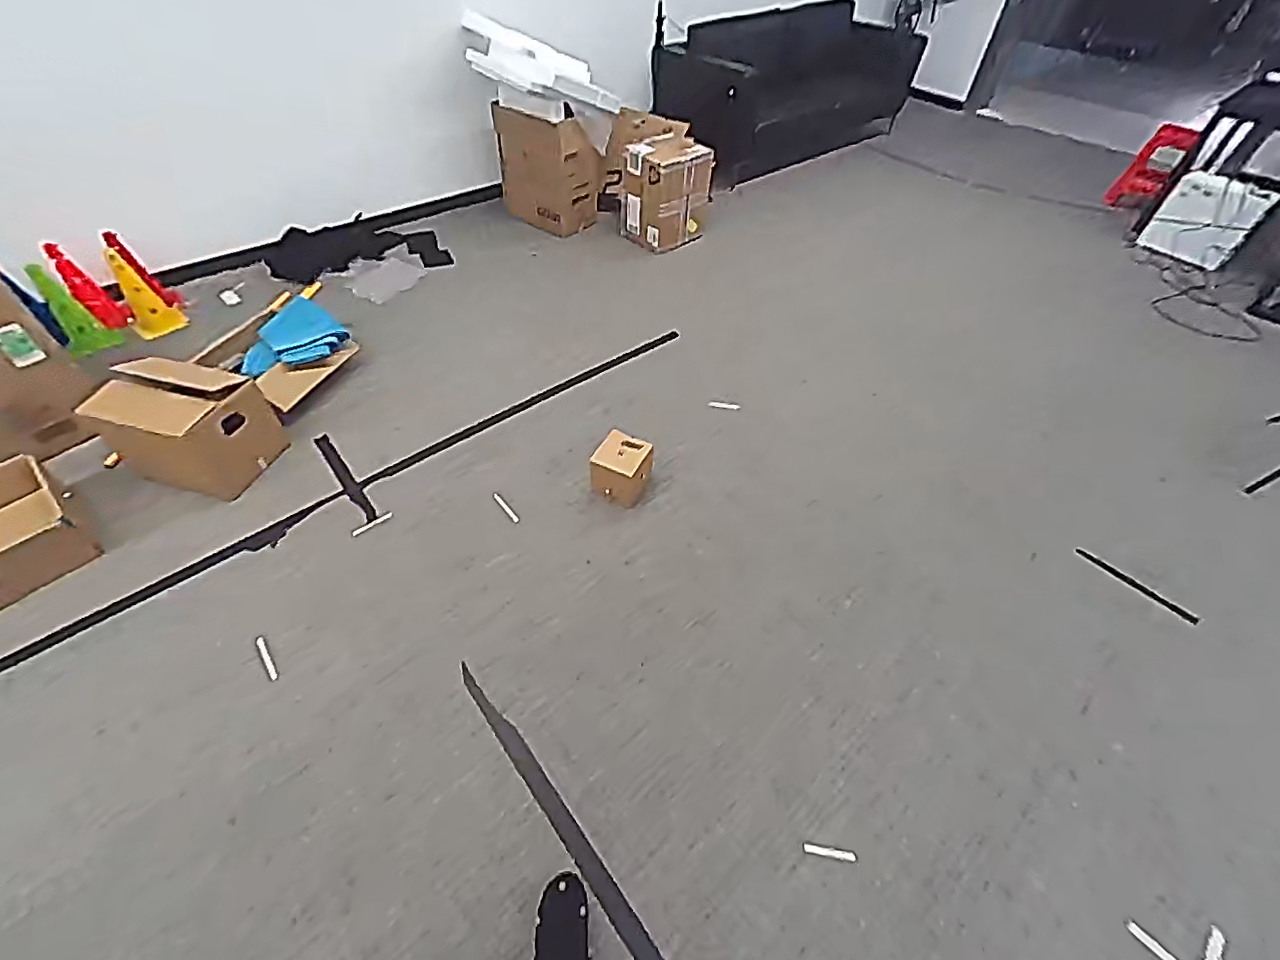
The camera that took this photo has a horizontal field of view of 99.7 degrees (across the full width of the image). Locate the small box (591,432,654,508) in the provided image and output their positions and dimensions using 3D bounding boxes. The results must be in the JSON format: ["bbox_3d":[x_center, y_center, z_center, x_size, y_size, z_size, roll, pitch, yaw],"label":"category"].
[{"bbox_3d":[-0.063,-0.035,1.934,0.168,0.176,0.179,21,52,16],"label":"small box"}]
